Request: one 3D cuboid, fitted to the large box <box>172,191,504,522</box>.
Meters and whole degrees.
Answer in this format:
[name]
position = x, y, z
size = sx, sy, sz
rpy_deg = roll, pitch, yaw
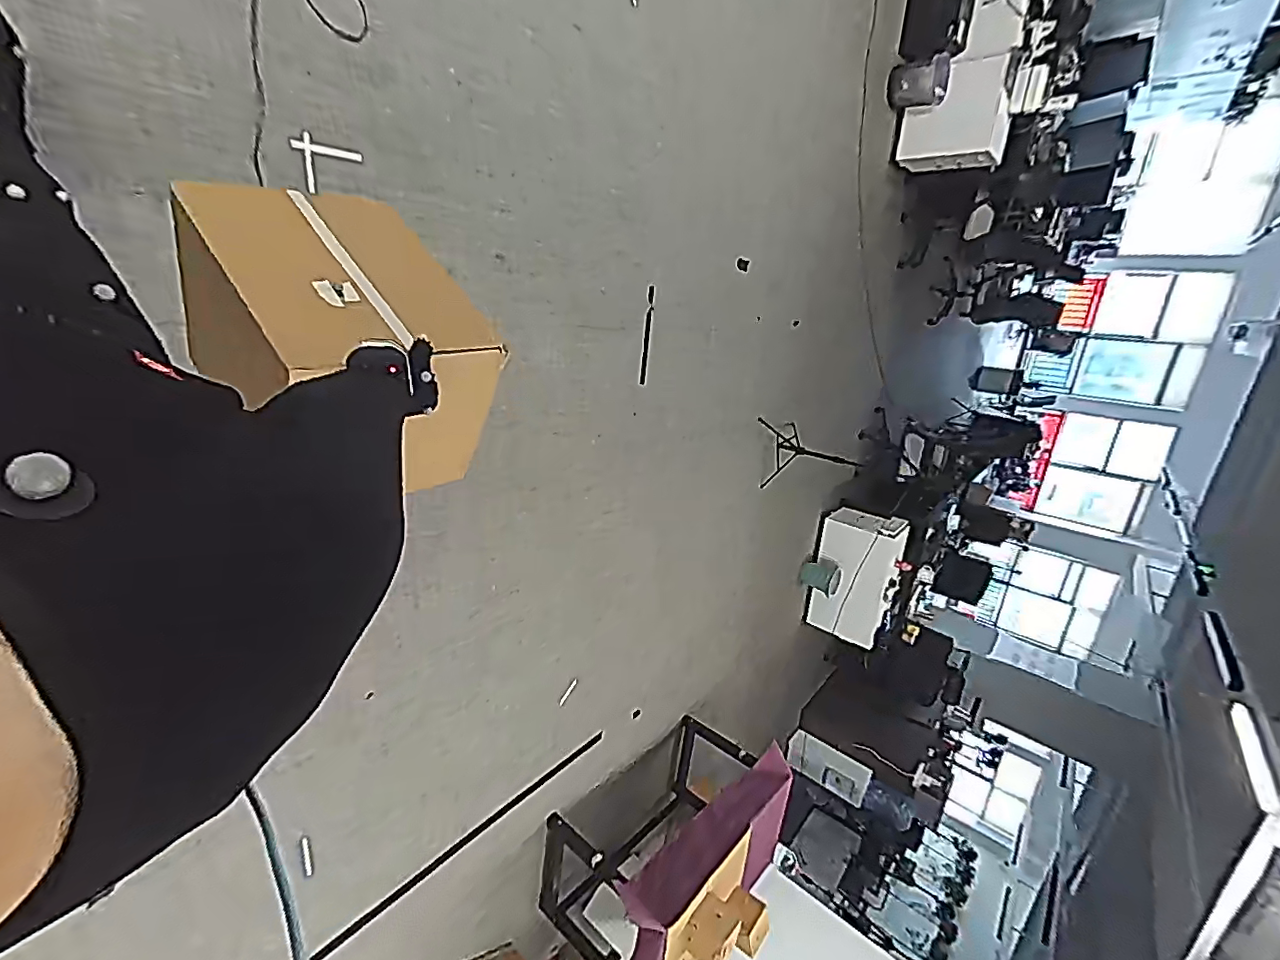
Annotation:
[large box]
position = -0.505, -0.207, 0.903
size = 0.320, 0.408, 0.320
rpy_deg = -23, 156, -46
